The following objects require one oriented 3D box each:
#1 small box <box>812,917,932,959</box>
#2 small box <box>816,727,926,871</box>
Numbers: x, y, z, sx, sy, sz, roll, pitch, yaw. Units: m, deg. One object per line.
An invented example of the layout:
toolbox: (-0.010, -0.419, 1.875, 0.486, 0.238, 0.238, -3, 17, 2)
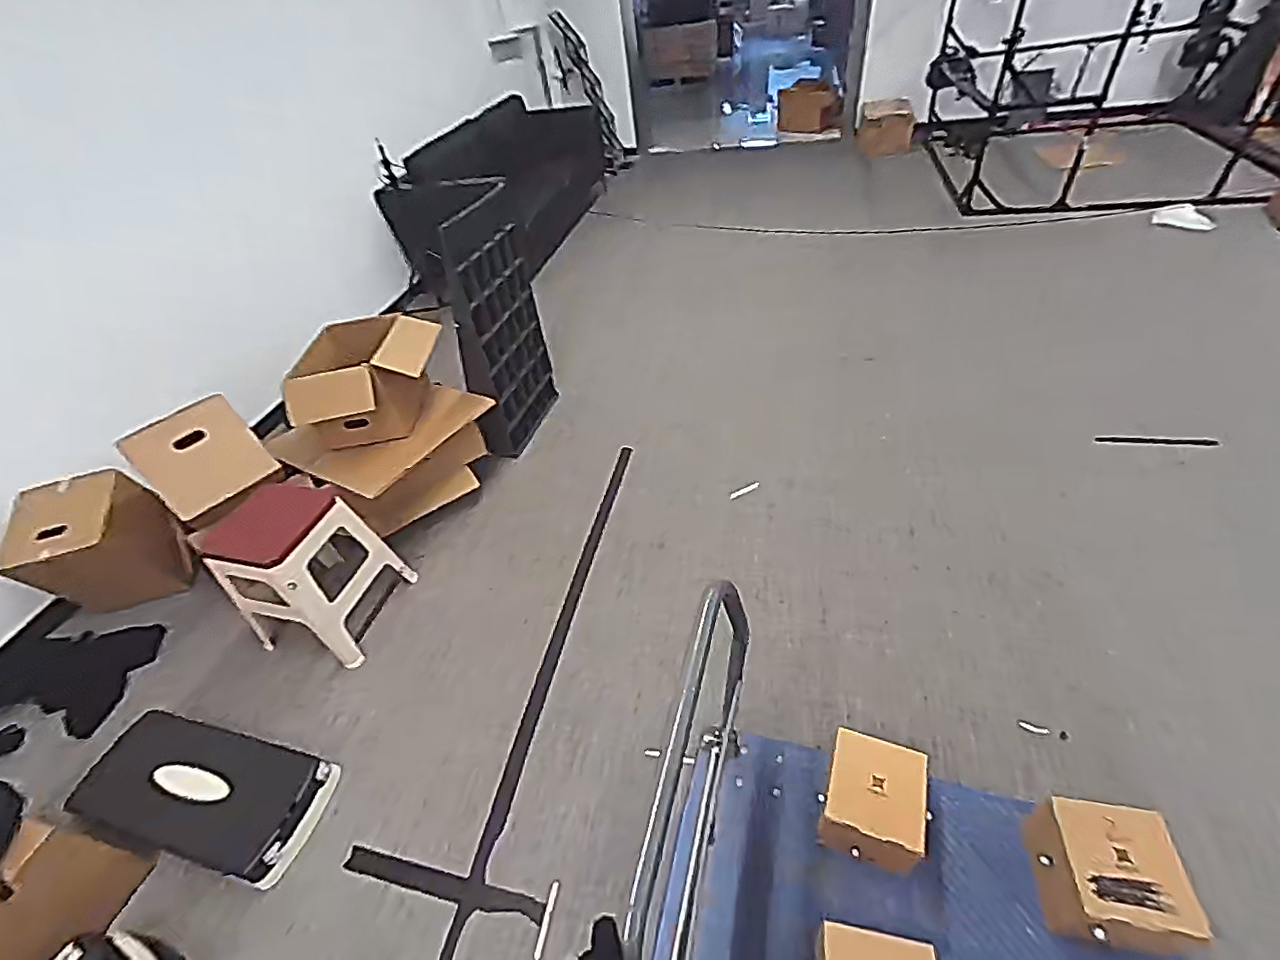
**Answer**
small box: (0.365, 0.837, 0.857, 0.168, 0.176, 0.179, 4, 44, 14)
small box: (0.451, 0.629, 1.068, 0.168, 0.176, 0.179, 12, 48, 20)
